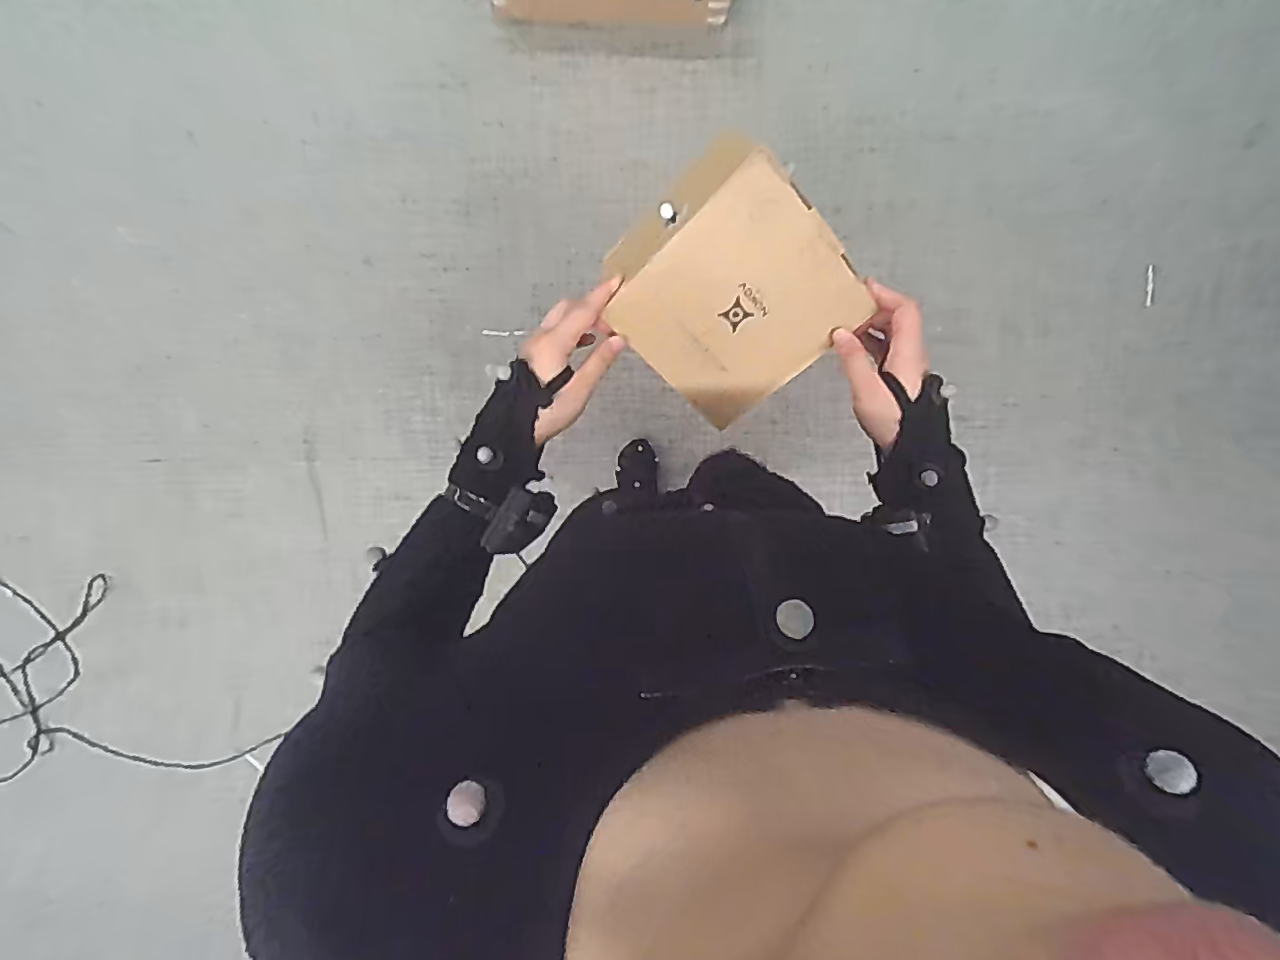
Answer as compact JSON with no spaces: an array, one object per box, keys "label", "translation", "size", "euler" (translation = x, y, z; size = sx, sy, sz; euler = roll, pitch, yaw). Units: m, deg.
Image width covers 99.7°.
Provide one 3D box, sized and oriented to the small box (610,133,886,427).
[{"label":"small box","translation":[0.088,-0.191,0.511],"size":[0.179,0.176,0.168],"euler":[-38,118,25]}]
